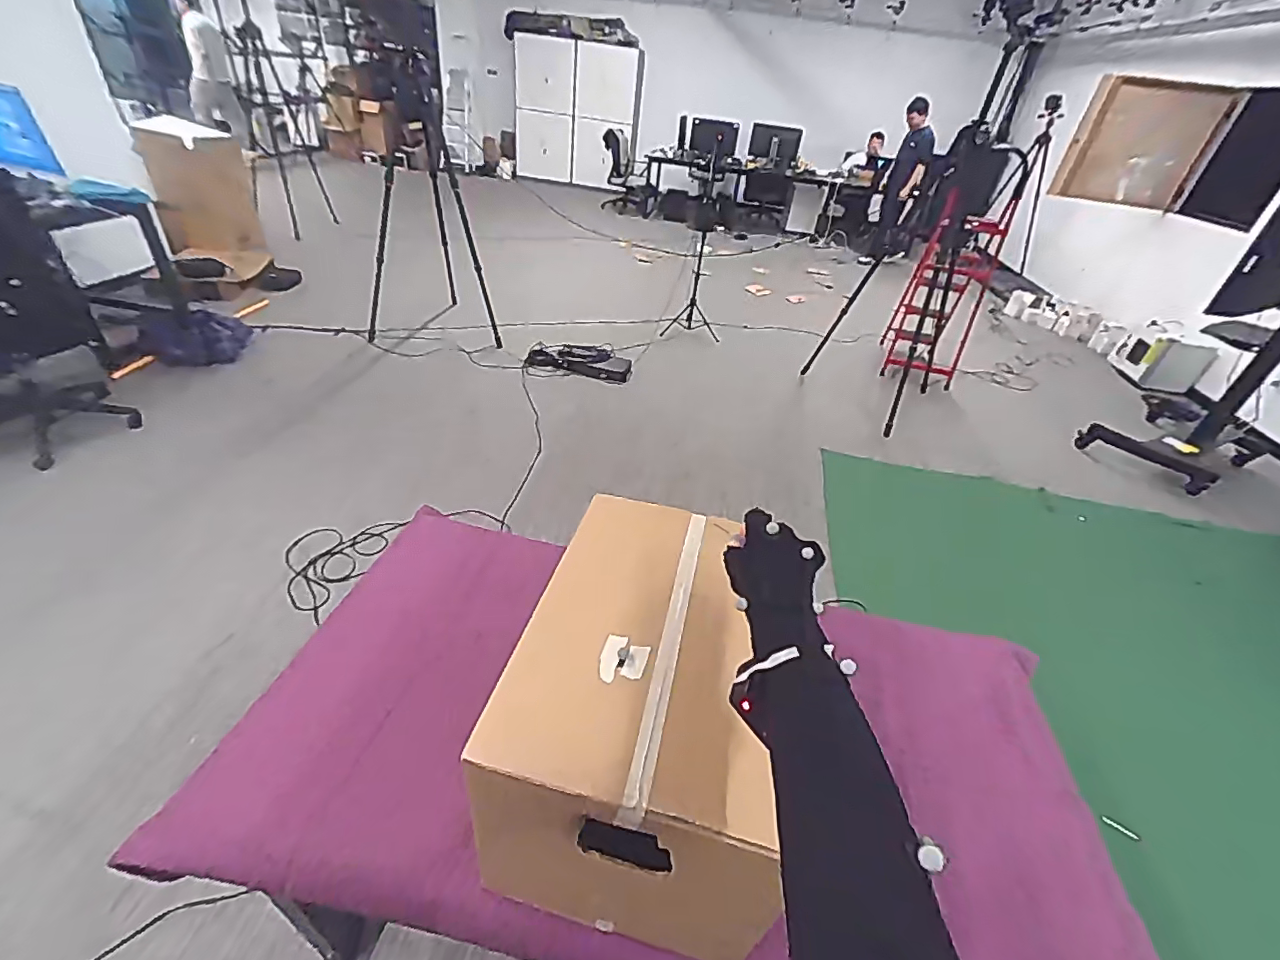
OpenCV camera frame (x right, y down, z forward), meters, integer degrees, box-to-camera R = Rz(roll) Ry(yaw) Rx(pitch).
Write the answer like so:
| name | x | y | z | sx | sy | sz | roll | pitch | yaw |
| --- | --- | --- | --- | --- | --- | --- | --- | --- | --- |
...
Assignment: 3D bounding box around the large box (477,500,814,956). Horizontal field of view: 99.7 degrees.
| name | x | y | z | sx | sy | sz | roll | pitch | yaw |
| --- | --- | --- | --- | --- | --- | --- | --- | --- | --- |
| large box | 0.022 | 0.292 | 0.712 | 0.320 | 0.320 | 0.408 | 13 | 37 | 7 |
